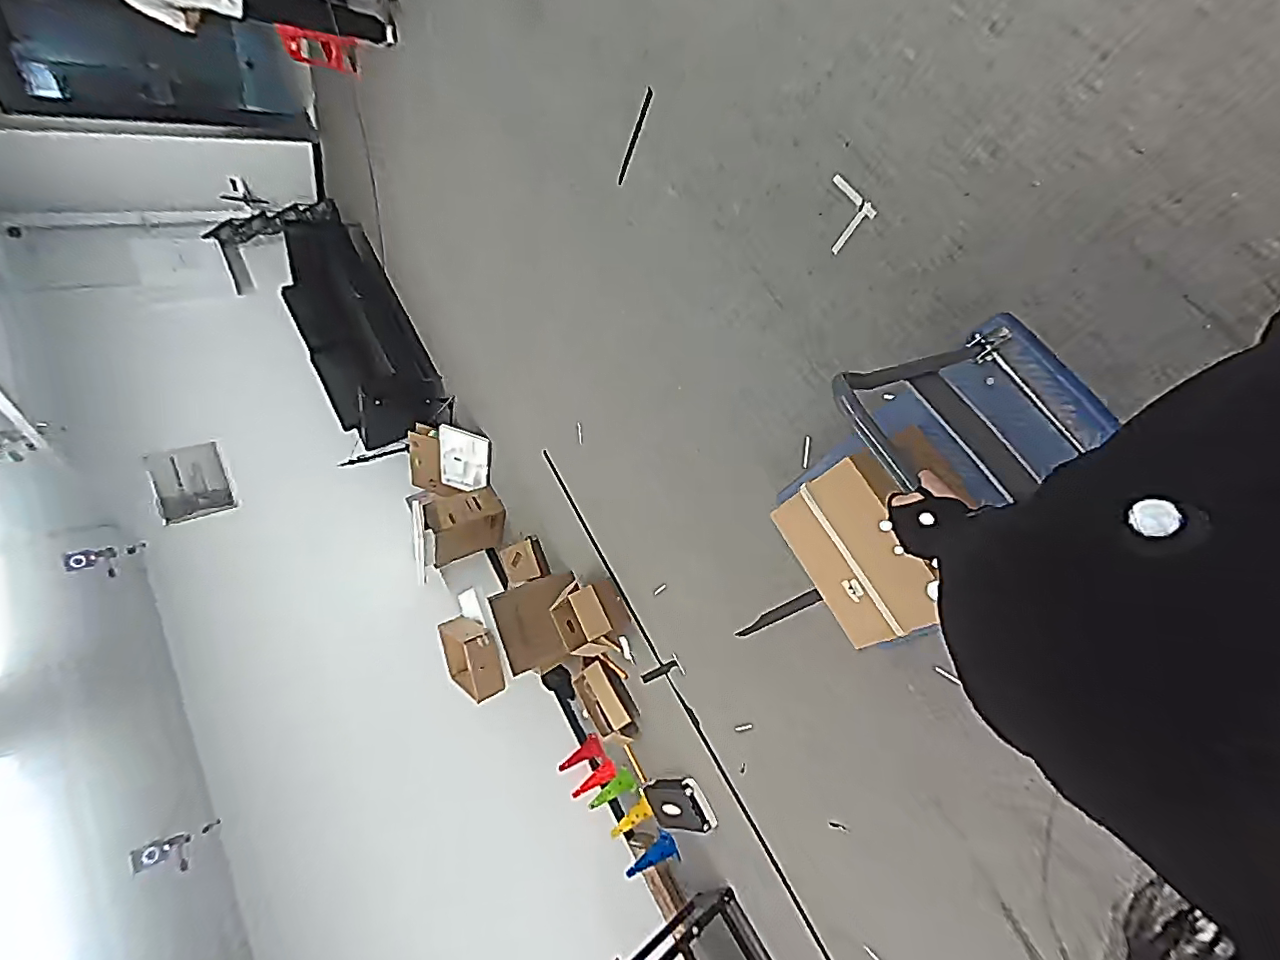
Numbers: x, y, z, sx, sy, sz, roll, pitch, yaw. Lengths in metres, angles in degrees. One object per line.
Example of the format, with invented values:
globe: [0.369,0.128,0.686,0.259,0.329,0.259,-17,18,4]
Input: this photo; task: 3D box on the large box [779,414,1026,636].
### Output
large box: [0.639,0.106,1.350,0.408,0.320,0.320,59,146,14]
